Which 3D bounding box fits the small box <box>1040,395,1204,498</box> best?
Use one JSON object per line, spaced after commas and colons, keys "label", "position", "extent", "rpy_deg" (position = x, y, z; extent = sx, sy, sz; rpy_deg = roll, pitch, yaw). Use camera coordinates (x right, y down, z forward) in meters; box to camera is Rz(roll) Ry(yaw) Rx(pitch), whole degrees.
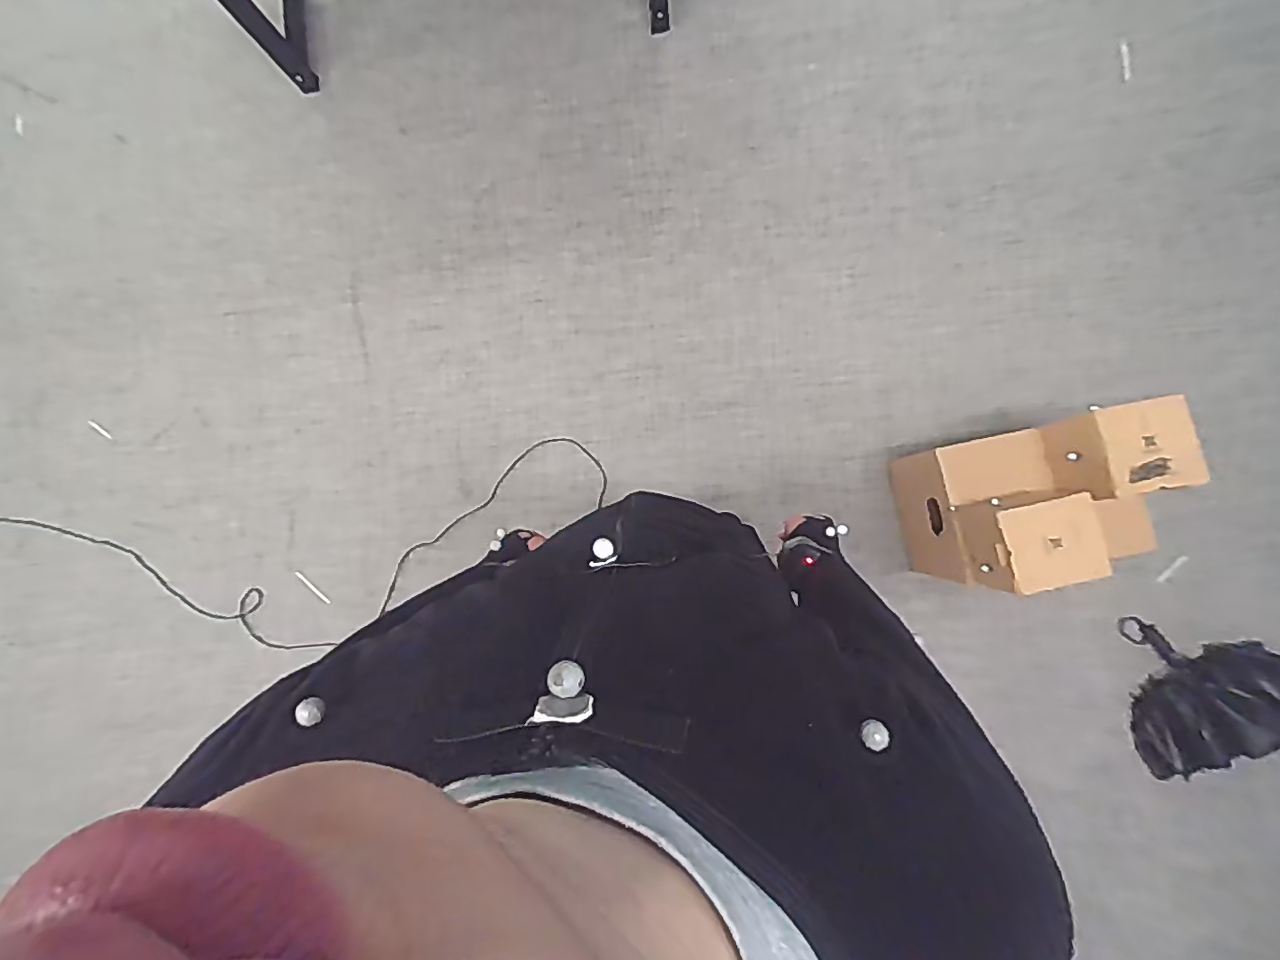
{"label": "small box", "position": [0.967, -0.058, 1.103], "extent": [0.168, 0.176, 0.179], "rpy_deg": [-10, 83, 4]}

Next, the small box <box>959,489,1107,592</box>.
{"label": "small box", "position": [0.788, 0.118, 1.109], "extent": [0.179, 0.176, 0.168], "rpy_deg": [-14, 89, 3]}
